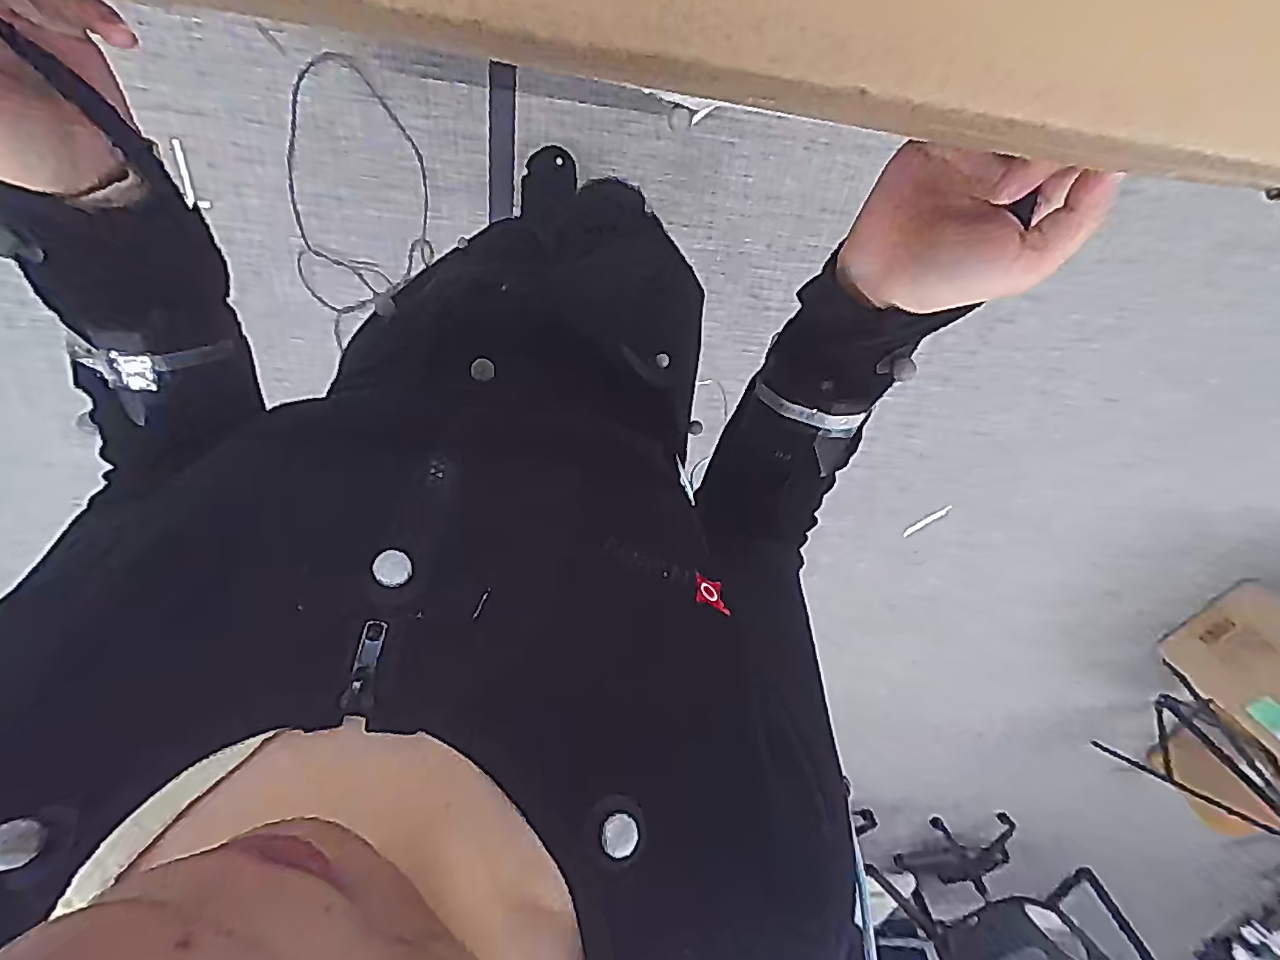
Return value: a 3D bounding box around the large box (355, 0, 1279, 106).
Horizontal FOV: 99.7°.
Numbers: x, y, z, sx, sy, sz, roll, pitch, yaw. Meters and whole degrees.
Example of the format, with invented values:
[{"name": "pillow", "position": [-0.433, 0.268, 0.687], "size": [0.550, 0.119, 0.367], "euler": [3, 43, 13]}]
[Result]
[{"name": "large box", "position": [-0.019, -0.302, 0.115], "size": [0.408, 0.320, 0.320], "euler": [4, 127, -7]}]
